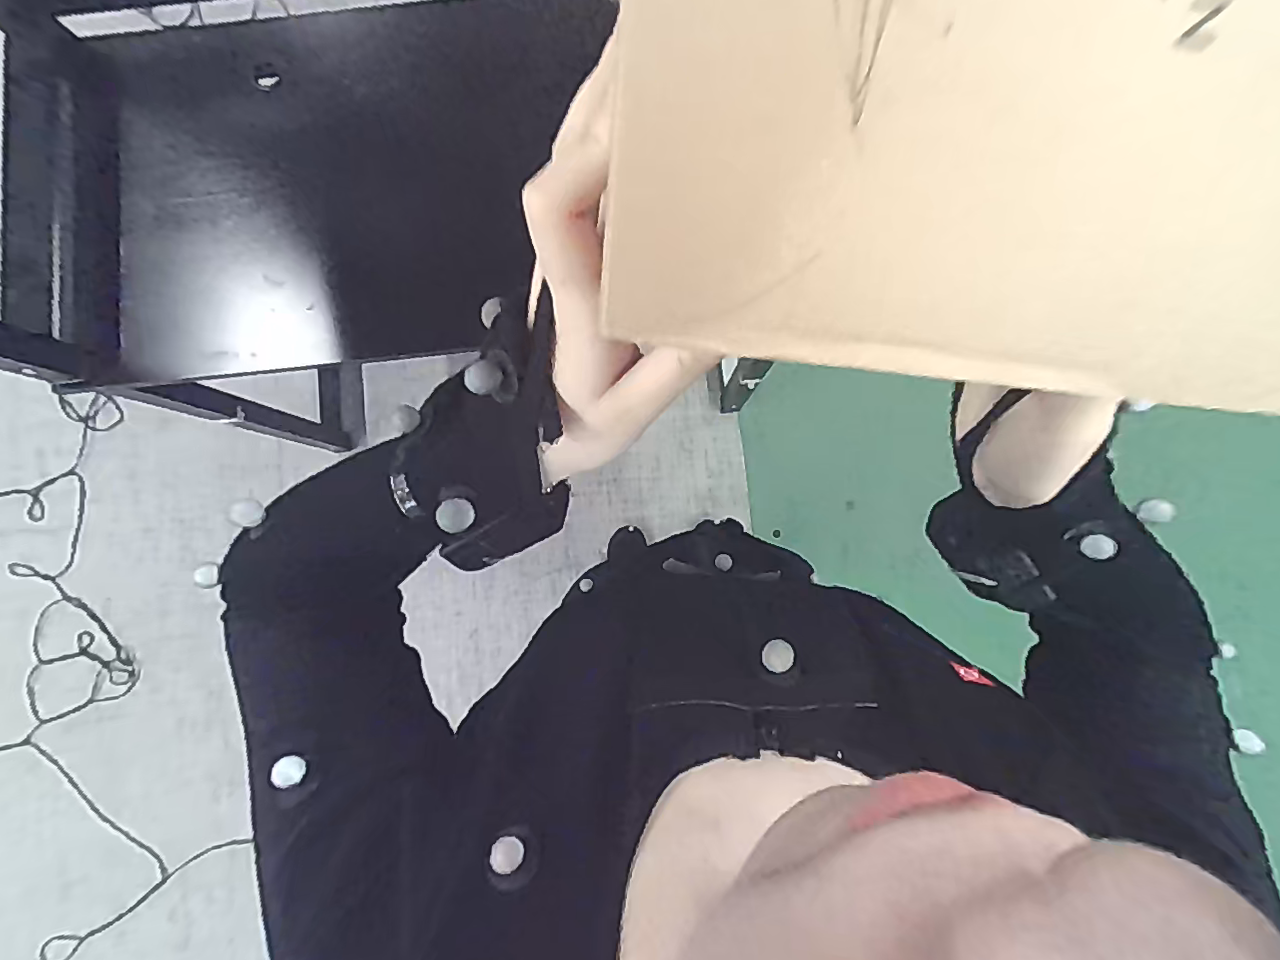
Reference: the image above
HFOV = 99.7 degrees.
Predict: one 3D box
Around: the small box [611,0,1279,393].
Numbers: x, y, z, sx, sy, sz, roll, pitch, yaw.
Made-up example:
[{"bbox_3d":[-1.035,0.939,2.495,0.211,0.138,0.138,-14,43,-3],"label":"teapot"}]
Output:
[{"bbox_3d":[0.088,-0.141,0.171,0.179,0.176,0.168,6,119,-2],"label":"small box"}]
